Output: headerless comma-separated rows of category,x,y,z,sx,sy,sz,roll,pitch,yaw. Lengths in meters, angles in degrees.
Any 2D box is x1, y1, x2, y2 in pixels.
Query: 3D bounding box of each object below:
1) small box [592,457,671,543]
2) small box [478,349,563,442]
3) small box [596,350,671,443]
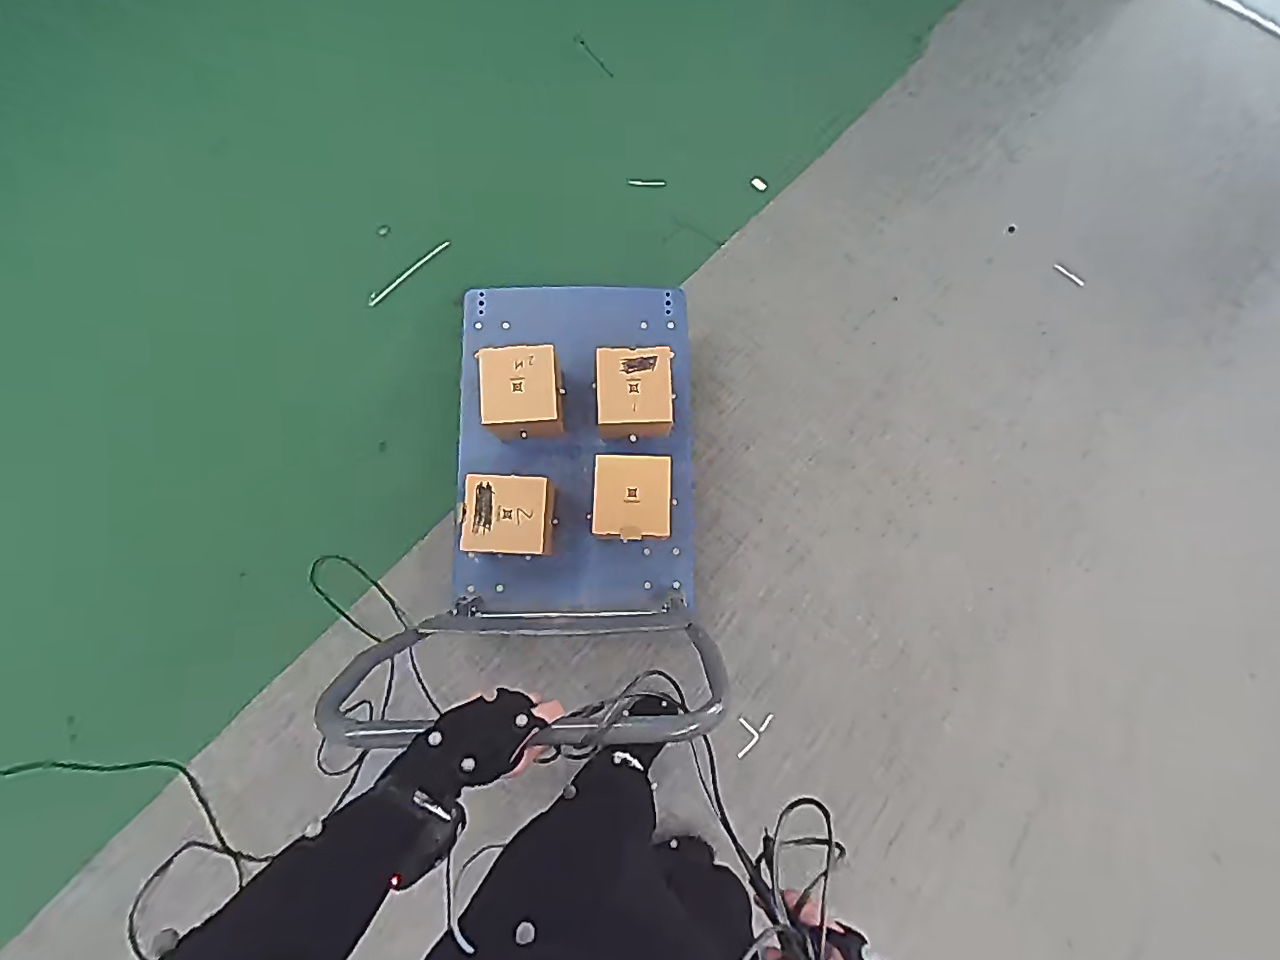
small box,-0.020,0.050,1.234,0.168,0.176,0.179,1,82,-1
small box,-0.273,-0.190,1.264,0.168,0.176,0.179,-4,81,-2
small box,-0.018,-0.191,1.269,0.168,0.176,0.179,-2,82,-1
